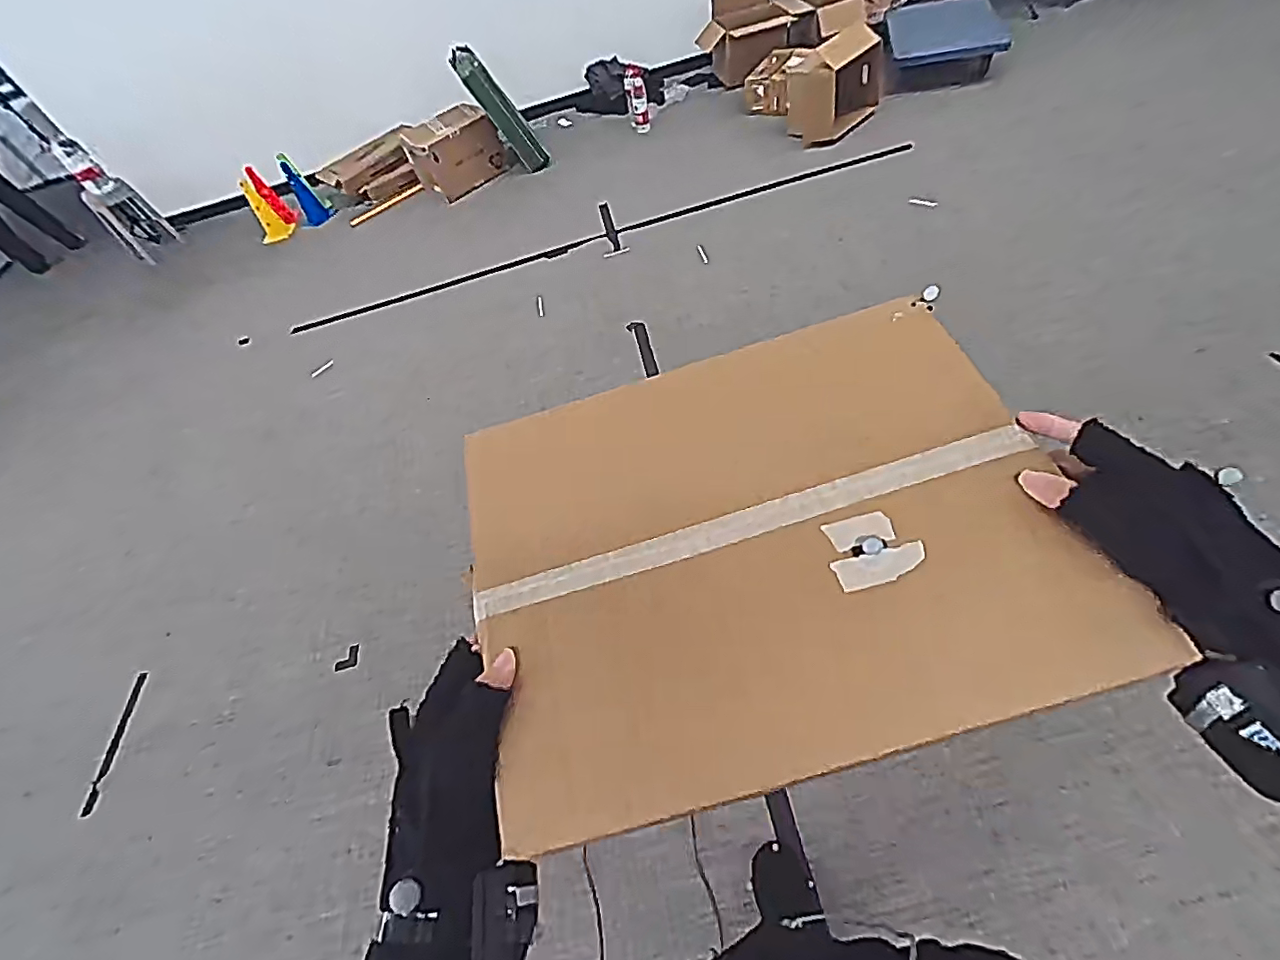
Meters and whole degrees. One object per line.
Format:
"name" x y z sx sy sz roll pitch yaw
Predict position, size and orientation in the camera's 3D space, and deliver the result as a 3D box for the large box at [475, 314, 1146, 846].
"large box" 0.102 0.111 0.527 0.408 0.320 0.320 -18 59 1
